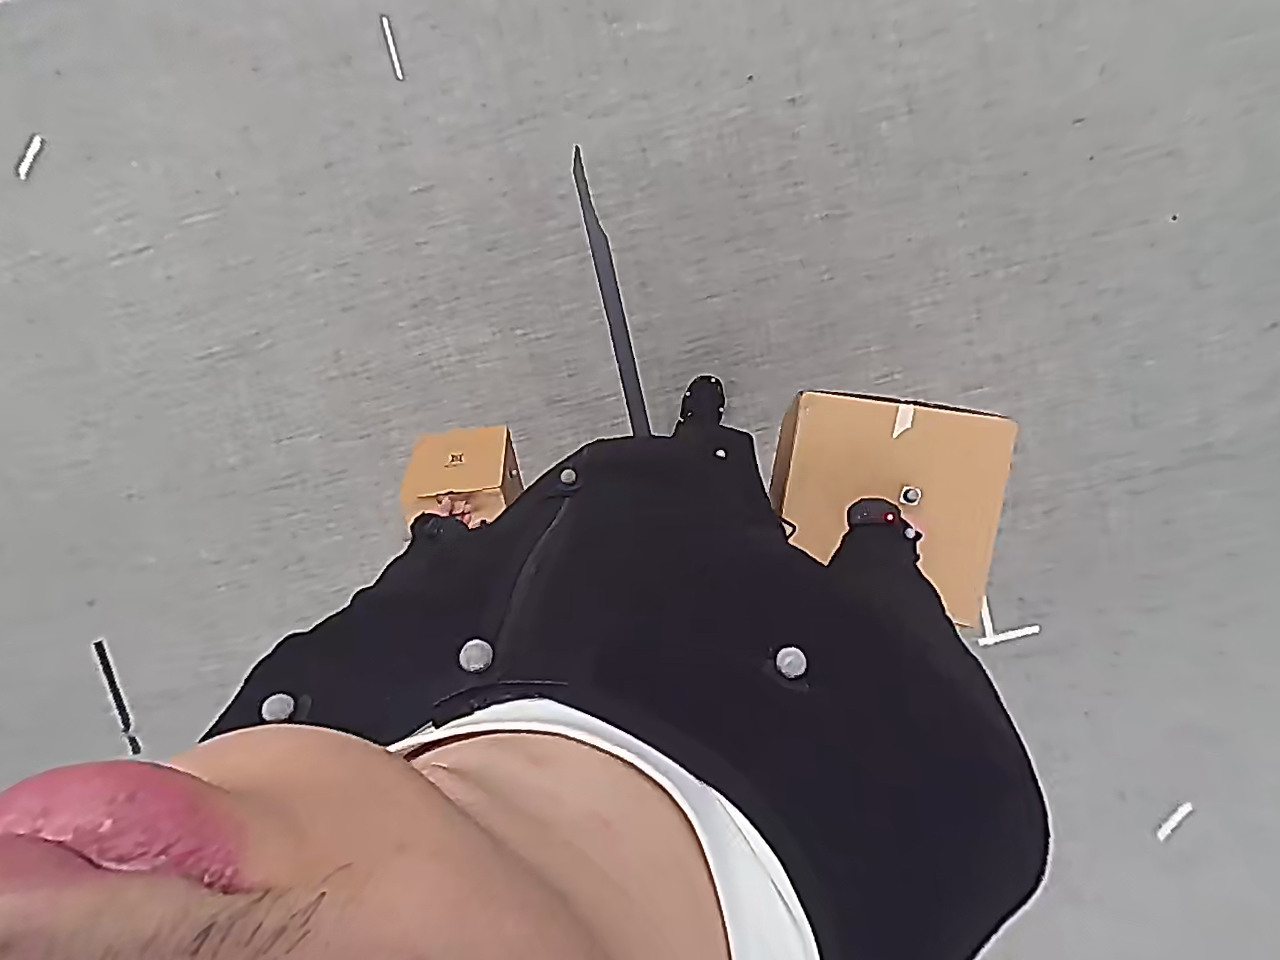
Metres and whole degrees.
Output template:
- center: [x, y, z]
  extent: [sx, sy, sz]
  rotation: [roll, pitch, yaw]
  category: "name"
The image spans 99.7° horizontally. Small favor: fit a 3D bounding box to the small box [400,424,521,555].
- center: [-0.313, 0.023, 0.986]
  extent: [0.168, 0.179, 0.176]
  rotation: [-6, 133, -5]
  category: "small box"
